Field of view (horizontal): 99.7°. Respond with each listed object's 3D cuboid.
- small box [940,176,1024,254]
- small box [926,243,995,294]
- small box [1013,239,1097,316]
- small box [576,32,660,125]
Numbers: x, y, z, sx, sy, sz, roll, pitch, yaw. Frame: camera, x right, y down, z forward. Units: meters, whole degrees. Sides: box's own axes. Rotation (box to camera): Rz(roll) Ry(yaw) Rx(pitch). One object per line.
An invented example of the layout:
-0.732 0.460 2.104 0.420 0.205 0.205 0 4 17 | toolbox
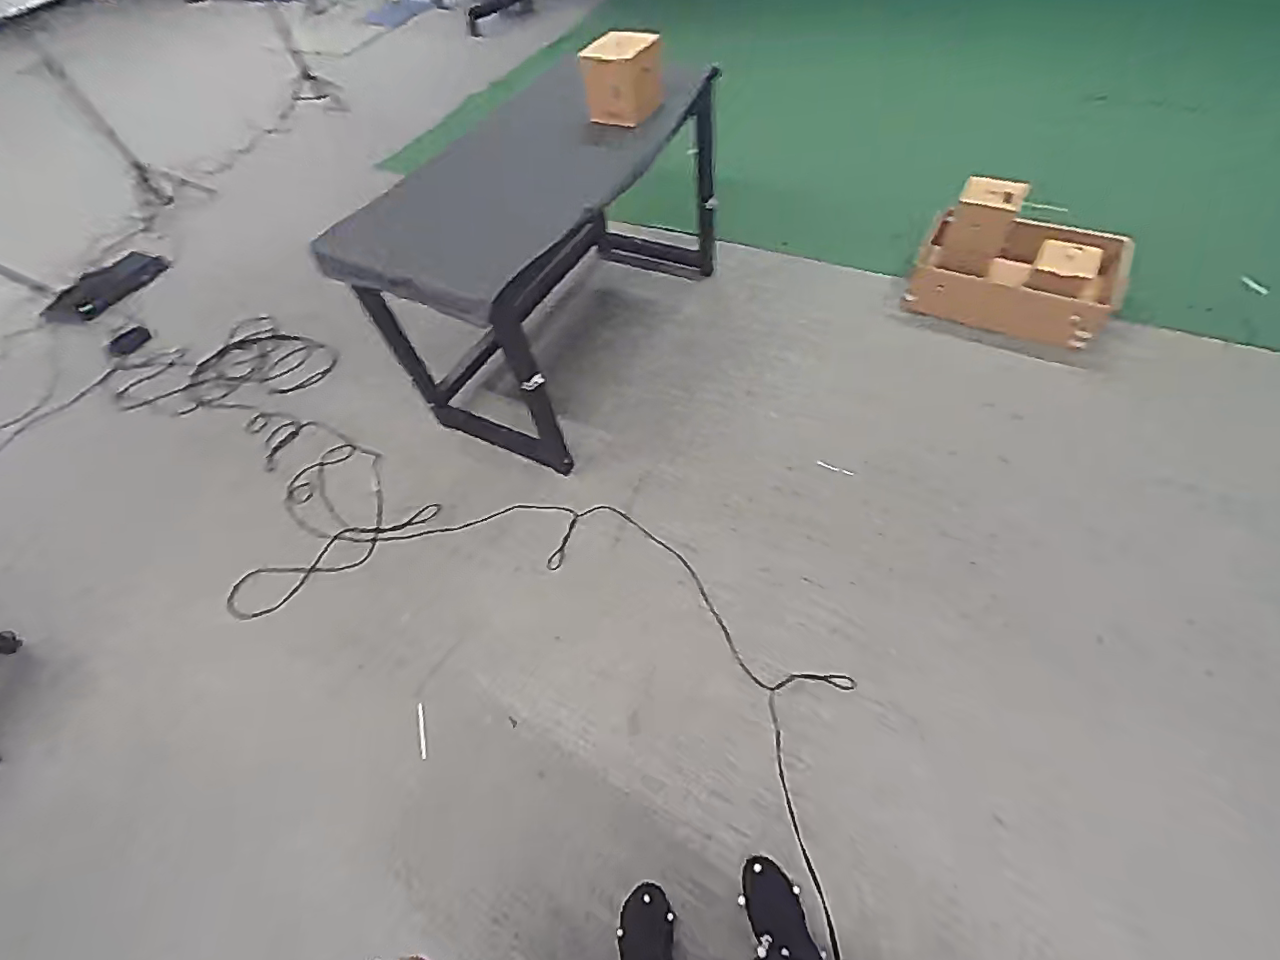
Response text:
1.158 -0.897 1.839 0.179 0.176 0.168 24 63 22 | small box
1.177 -0.811 1.978 0.179 0.176 0.168 23 64 20 | small box
1.428 -0.697 1.871 0.168 0.176 0.179 24 64 23 | small box
-0.054 -1.150 1.552 0.168 0.176 0.179 25 62 22 | small box
